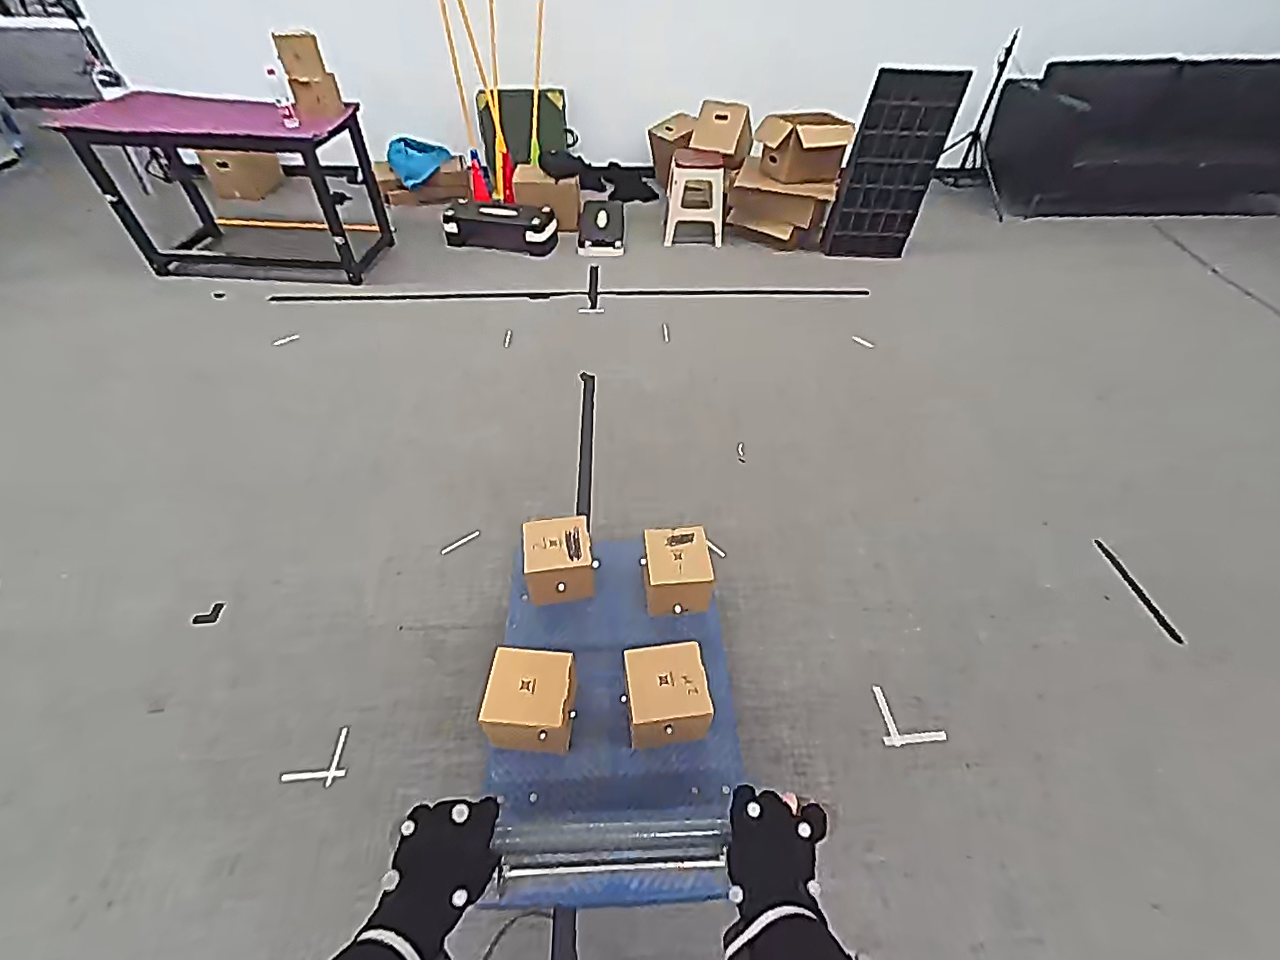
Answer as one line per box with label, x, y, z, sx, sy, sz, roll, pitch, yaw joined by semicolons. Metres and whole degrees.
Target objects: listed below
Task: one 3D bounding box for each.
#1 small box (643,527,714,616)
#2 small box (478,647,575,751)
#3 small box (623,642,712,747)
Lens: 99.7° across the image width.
small box;0.097;0.249;1.470;0.168;0.176;0.179;-3;48;-4
small box;-0.248;0.500;1.226;0.179;0.176;0.168;5;46;1
small box;0.056;0.494;1.239;0.179;0.176;0.168;-5;47;-6
